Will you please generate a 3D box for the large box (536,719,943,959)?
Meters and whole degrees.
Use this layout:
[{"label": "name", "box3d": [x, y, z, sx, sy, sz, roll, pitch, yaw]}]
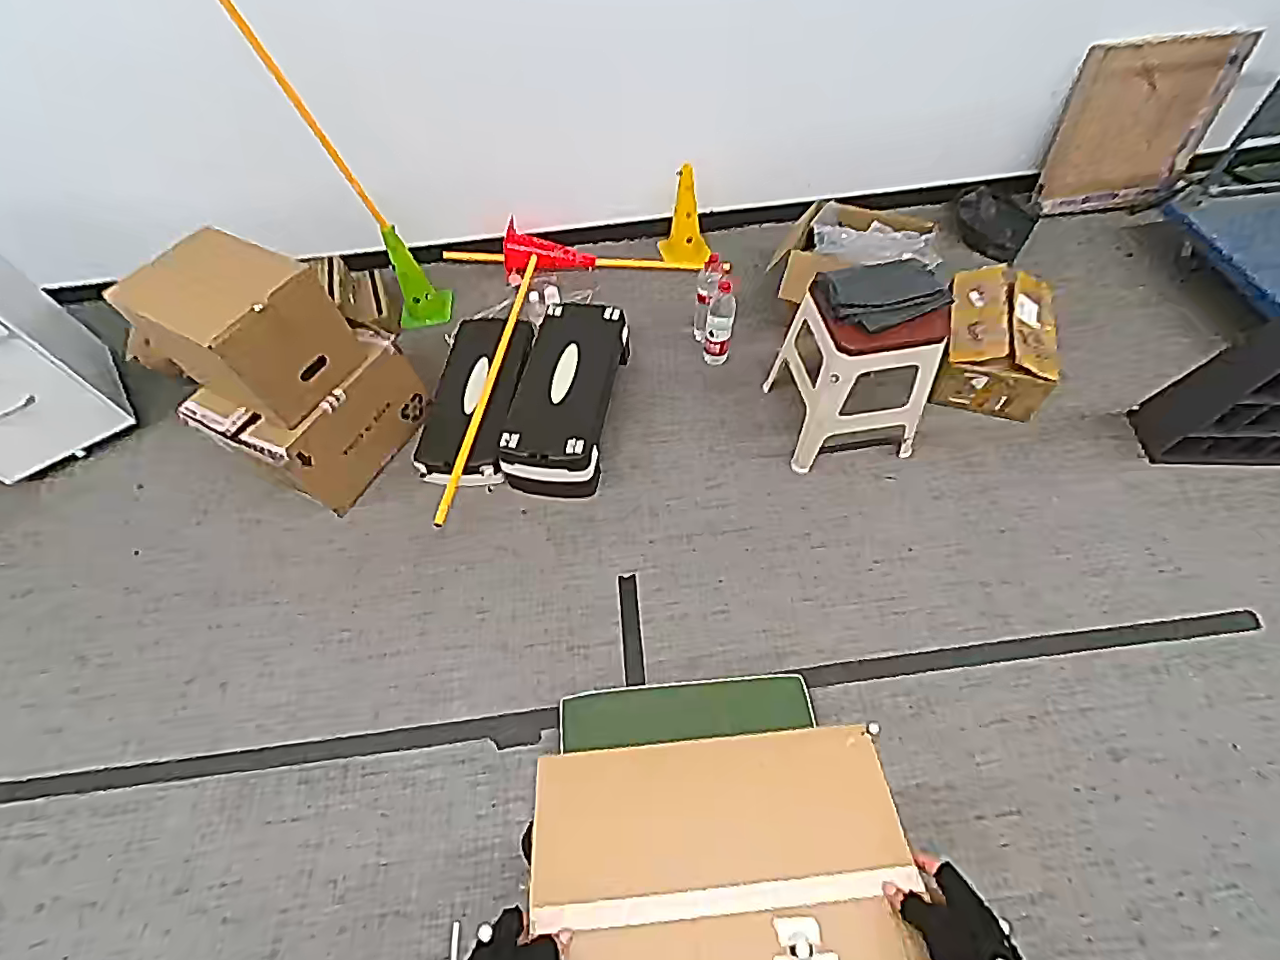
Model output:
[{"label": "large box", "box3d": [0.097, 0.533, 0.674, 0.408, 0.320, 0.320, -6, 47, -1]}]
